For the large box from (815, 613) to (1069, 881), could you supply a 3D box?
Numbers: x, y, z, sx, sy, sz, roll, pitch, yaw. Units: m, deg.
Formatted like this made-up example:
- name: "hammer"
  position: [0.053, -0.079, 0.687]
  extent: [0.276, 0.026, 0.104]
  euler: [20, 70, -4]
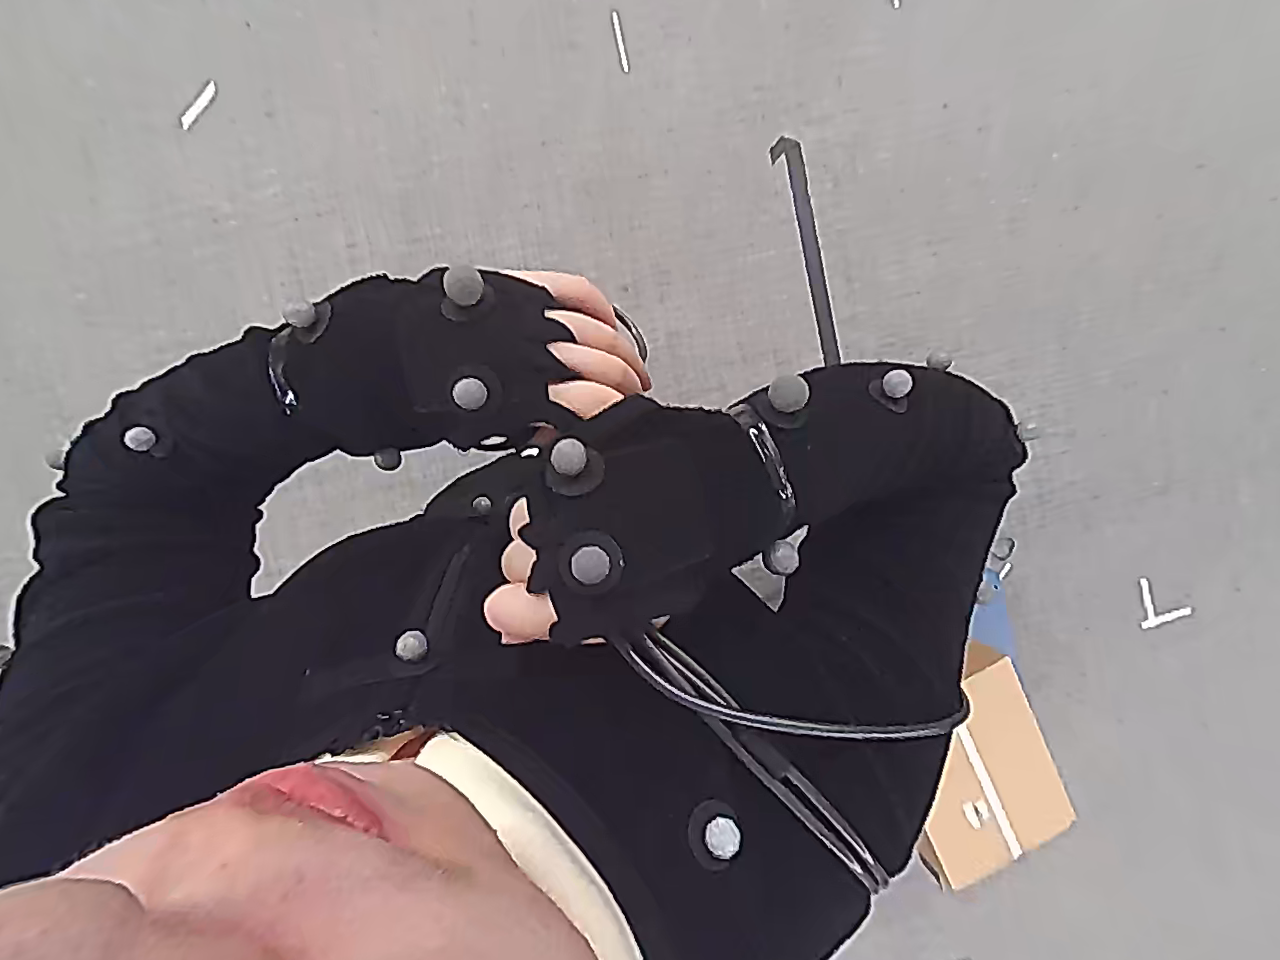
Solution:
- name: "large box"
  position: [0.678, 0.590, 1.270]
  extent: [0.320, 0.320, 0.408]
  euler: [-25, 95, -4]
